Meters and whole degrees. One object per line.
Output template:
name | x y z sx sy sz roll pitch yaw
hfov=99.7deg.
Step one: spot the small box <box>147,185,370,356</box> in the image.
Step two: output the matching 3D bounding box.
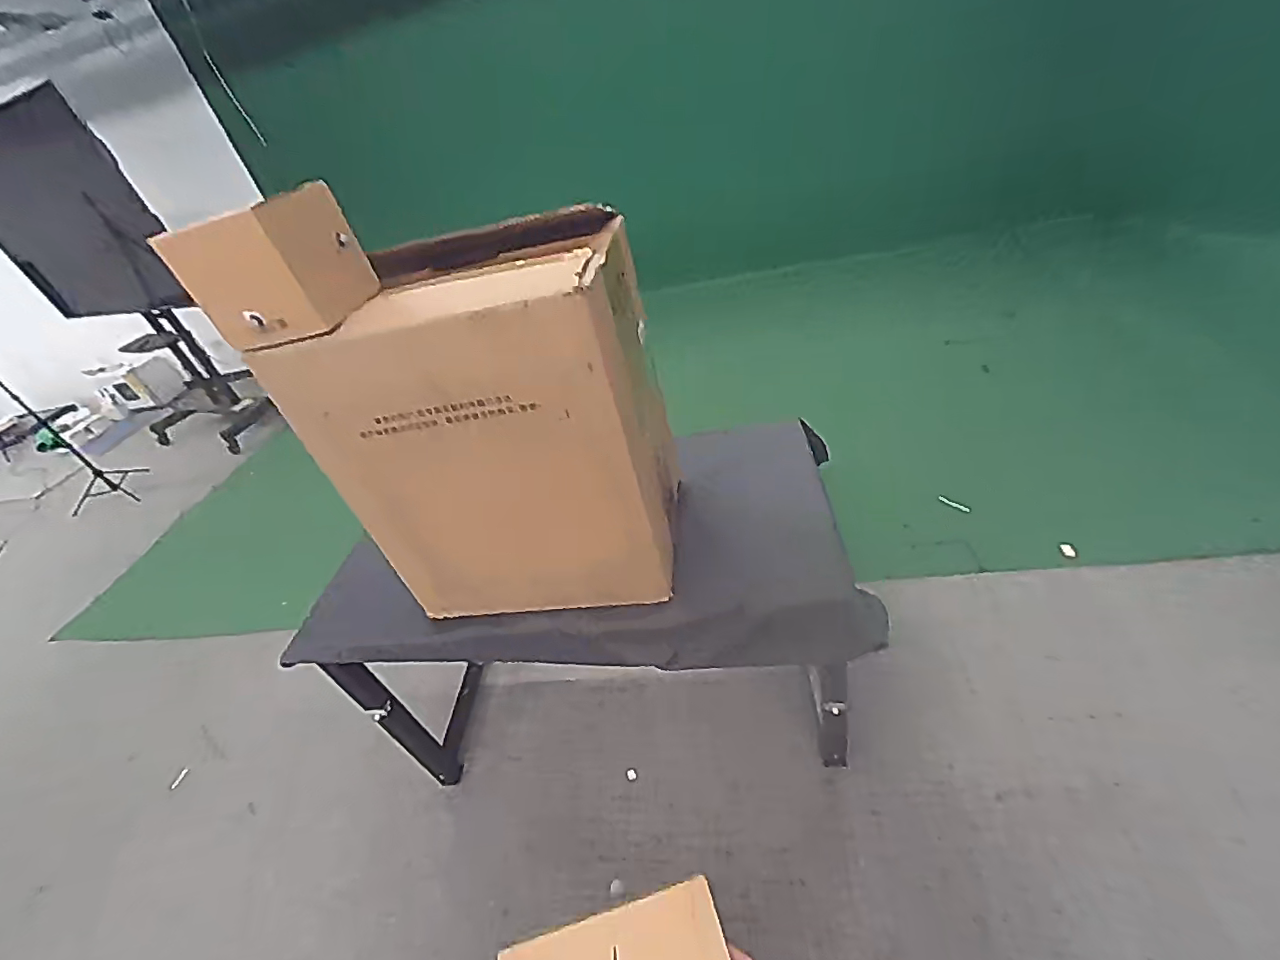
small box | -0.534 -0.305 0.793 0.168 0.176 0.179 -11 38 11
